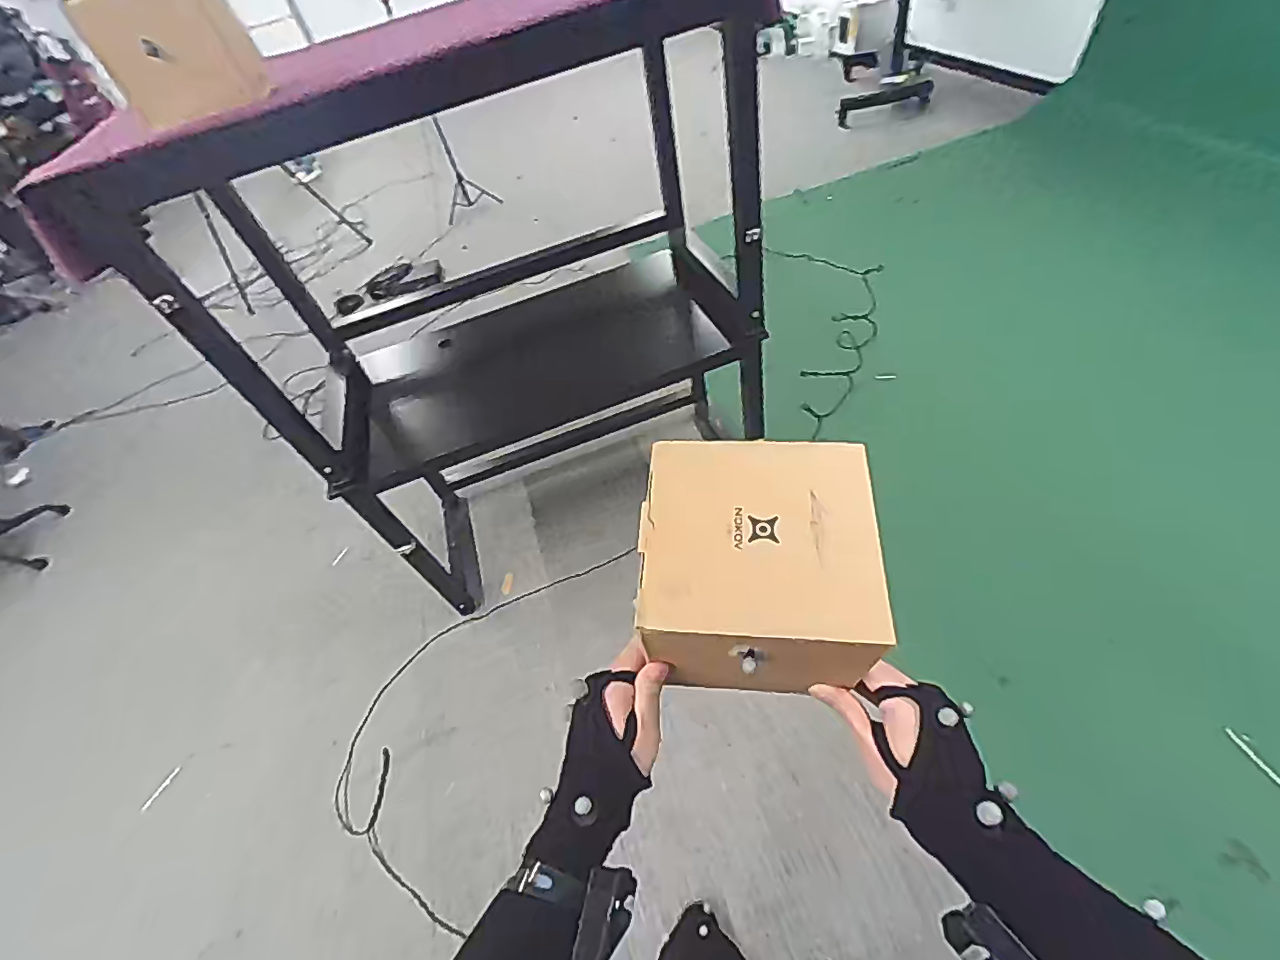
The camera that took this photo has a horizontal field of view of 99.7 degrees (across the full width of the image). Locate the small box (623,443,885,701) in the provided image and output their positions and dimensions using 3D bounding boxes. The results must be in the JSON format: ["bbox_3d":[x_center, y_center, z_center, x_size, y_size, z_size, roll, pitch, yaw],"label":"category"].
[{"bbox_3d":[0.091,0.084,0.468,0.179,0.176,0.168,1,57,9],"label":"small box"}]

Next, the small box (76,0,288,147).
[{"bbox_3d":[-0.714,-0.664,0.869,0.179,0.176,0.168,-22,47,-4],"label":"small box"}]
